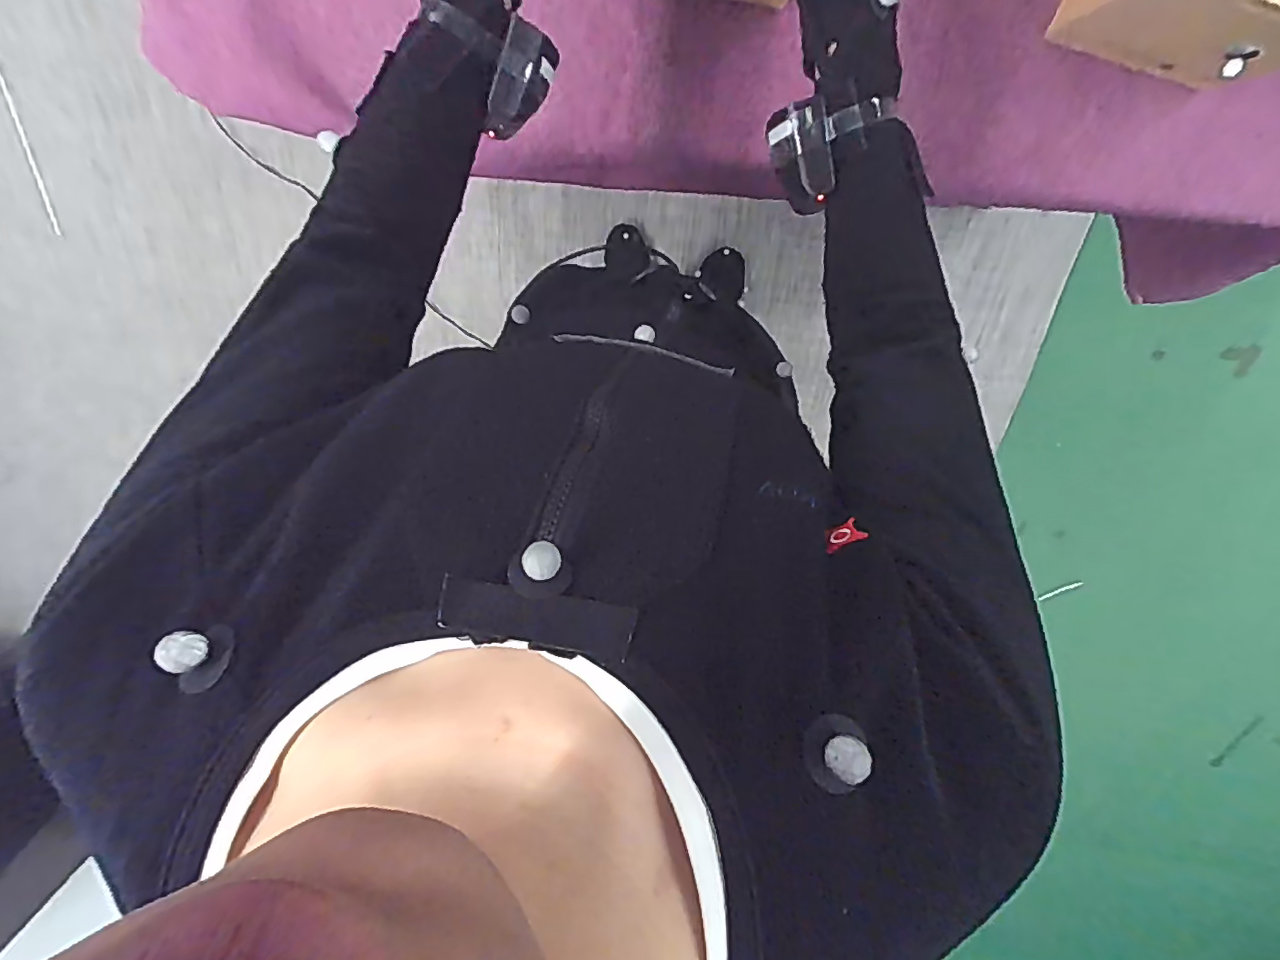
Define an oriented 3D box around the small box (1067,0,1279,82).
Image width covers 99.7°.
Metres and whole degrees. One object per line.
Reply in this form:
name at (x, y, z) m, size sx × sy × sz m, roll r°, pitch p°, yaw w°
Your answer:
small box at (0.470, -0.427, 0.396) m, size 0.168 × 0.176 × 0.179 m, roll 17°, pitch 117°, yaw -2°
